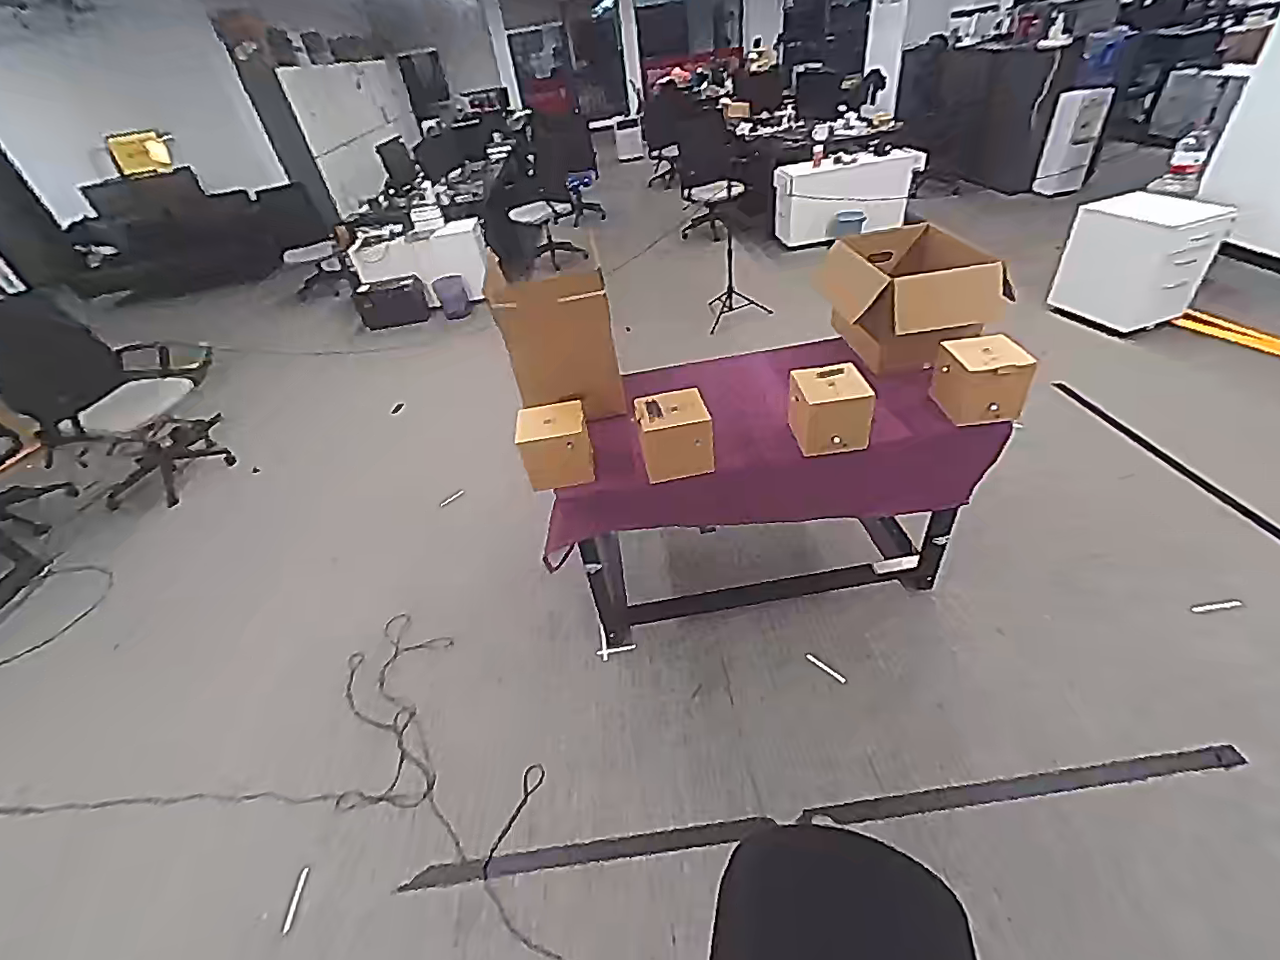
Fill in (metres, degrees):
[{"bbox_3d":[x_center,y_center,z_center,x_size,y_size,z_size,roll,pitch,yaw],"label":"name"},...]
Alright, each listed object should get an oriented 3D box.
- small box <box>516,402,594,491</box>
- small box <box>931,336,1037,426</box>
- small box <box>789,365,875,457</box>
[{"bbox_3d":[-0.228,-0.088,1.476,0.179,0.176,0.168,-9,39,-2],"label":"small box"},{"bbox_3d":[0.909,-0.265,1.452,0.168,0.176,0.179,-7,39,5],"label":"small box"},{"bbox_3d":[0.502,-0.184,1.442,0.168,0.176,0.179,-8,40,3],"label":"small box"}]
